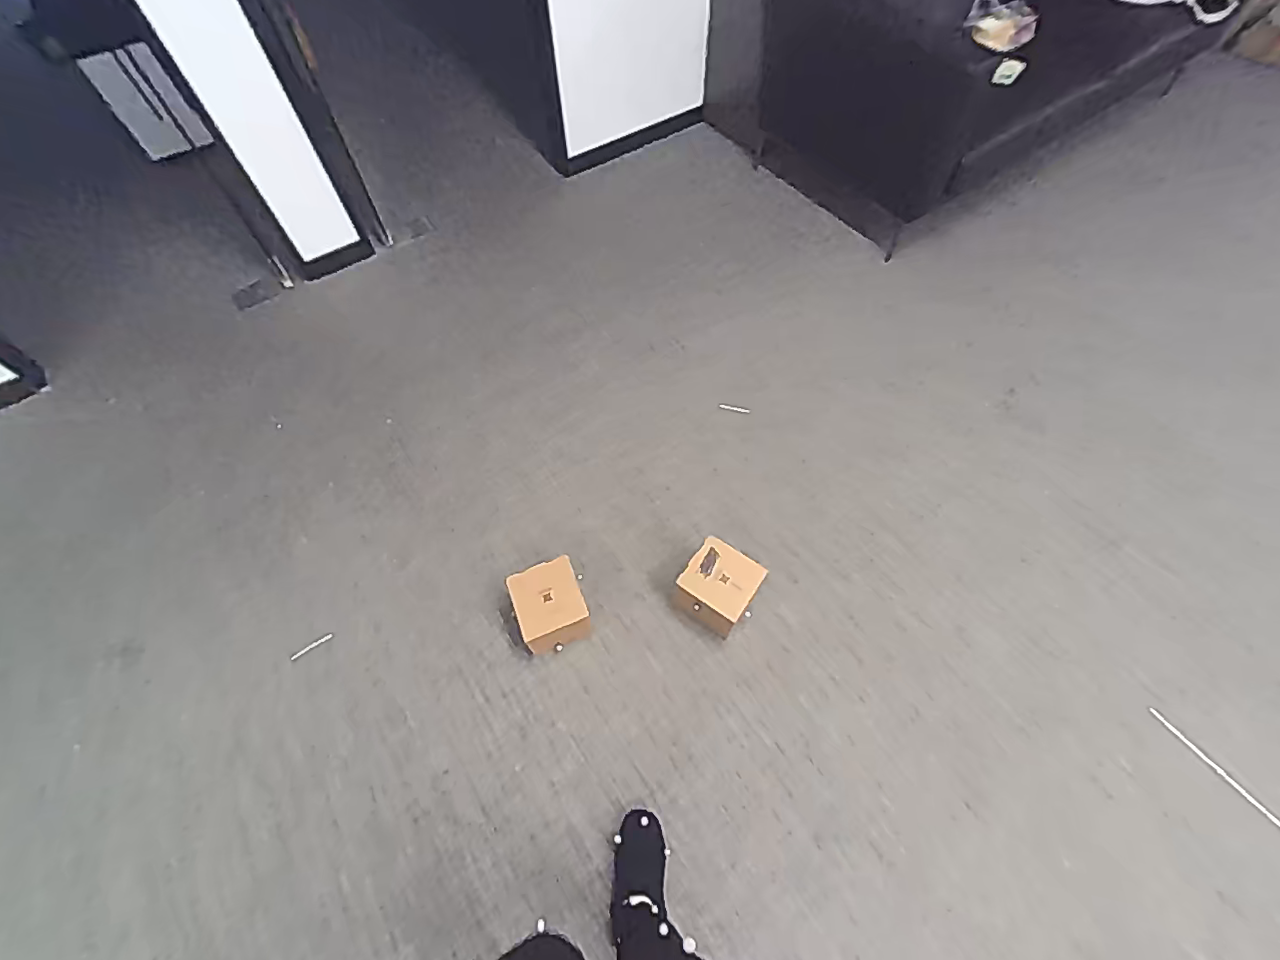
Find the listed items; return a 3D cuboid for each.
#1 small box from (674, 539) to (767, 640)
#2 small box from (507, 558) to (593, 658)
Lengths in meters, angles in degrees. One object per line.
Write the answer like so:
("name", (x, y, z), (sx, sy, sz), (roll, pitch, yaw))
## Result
("small box", (0.202, 0.291, 1.412), (0.179, 0.176, 0.168), (32, 65, 18))
("small box", (-0.229, 0.333, 1.393), (0.168, 0.176, 0.179), (-20, 60, -10))
